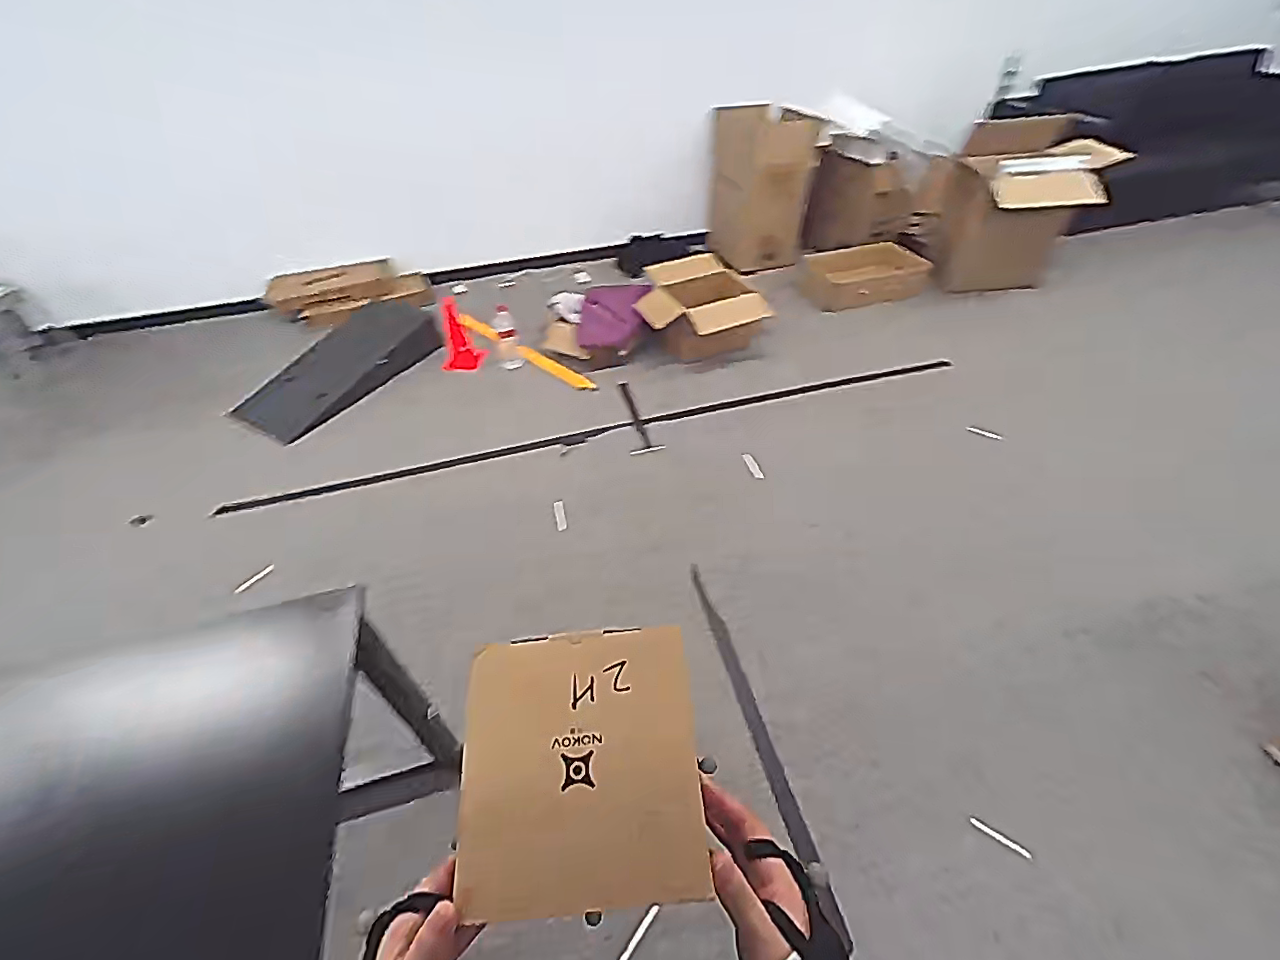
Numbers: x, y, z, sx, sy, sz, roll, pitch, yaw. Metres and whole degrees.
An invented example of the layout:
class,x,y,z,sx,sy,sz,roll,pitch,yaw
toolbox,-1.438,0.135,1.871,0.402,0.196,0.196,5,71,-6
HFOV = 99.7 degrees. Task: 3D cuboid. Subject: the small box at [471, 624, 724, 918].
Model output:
class,x,y,z,sx,sy,sz,roll,pitch,yaw
small box,-0.026,0.237,0.450,0.168,0.176,0.179,-6,56,1
